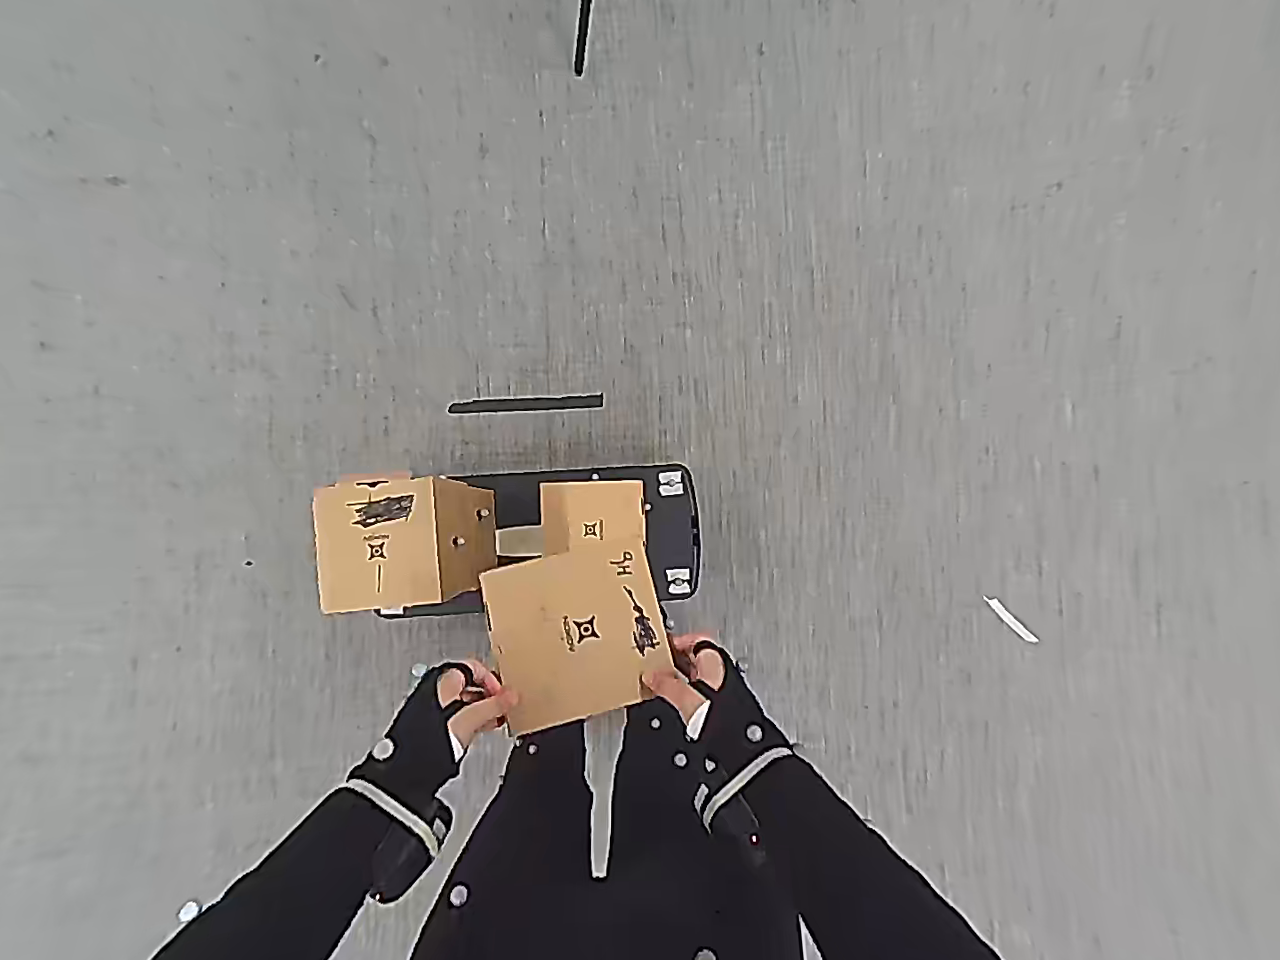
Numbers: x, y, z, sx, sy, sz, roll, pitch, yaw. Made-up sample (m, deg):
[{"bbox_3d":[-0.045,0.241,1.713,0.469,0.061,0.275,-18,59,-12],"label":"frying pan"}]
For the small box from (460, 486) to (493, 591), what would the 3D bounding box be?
[{"bbox_3d":[-0.362,0.107,0.980,0.168,0.176,0.179,-3,87,-2],"label":"small box"}]

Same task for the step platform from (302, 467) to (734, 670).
[{"bbox_3d":[-0.194,0.143,0.950,0.684,0.204,0.286,-4,87,-3],"label":"step platform"}]

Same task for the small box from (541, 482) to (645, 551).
[{"bbox_3d":[-0.081,0.088,0.994,0.179,0.176,0.168,-2,87,0],"label":"small box"}]

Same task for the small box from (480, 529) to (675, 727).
[{"bbox_3d":[-0.066,0.167,0.627,0.179,0.176,0.168,-13,77,-5],"label":"small box"}]

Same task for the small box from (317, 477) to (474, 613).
[{"bbox_3d":[-0.358,0.093,0.817,0.168,0.176,0.179,-5,88,-2],"label":"small box"}]
